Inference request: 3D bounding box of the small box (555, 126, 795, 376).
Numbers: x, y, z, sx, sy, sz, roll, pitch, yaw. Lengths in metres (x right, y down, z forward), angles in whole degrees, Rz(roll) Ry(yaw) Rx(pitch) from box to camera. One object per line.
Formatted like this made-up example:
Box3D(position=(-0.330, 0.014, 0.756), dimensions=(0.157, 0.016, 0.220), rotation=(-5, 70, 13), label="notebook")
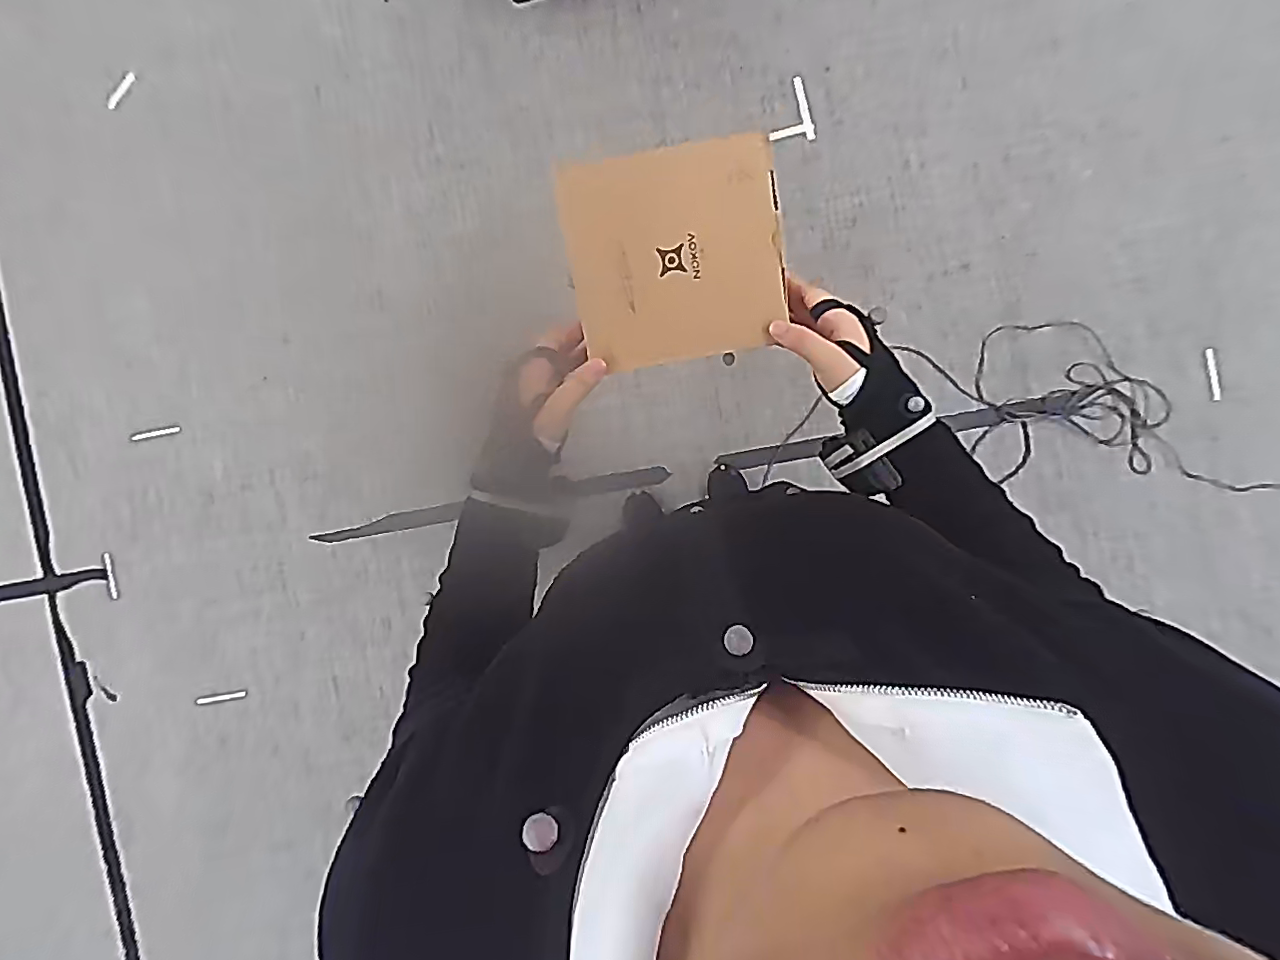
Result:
Box3D(position=(0.031, -0.201, 0.517), dimensions=(0.179, 0.176, 0.168), rotation=(-11, 104, 3), label="small box")
